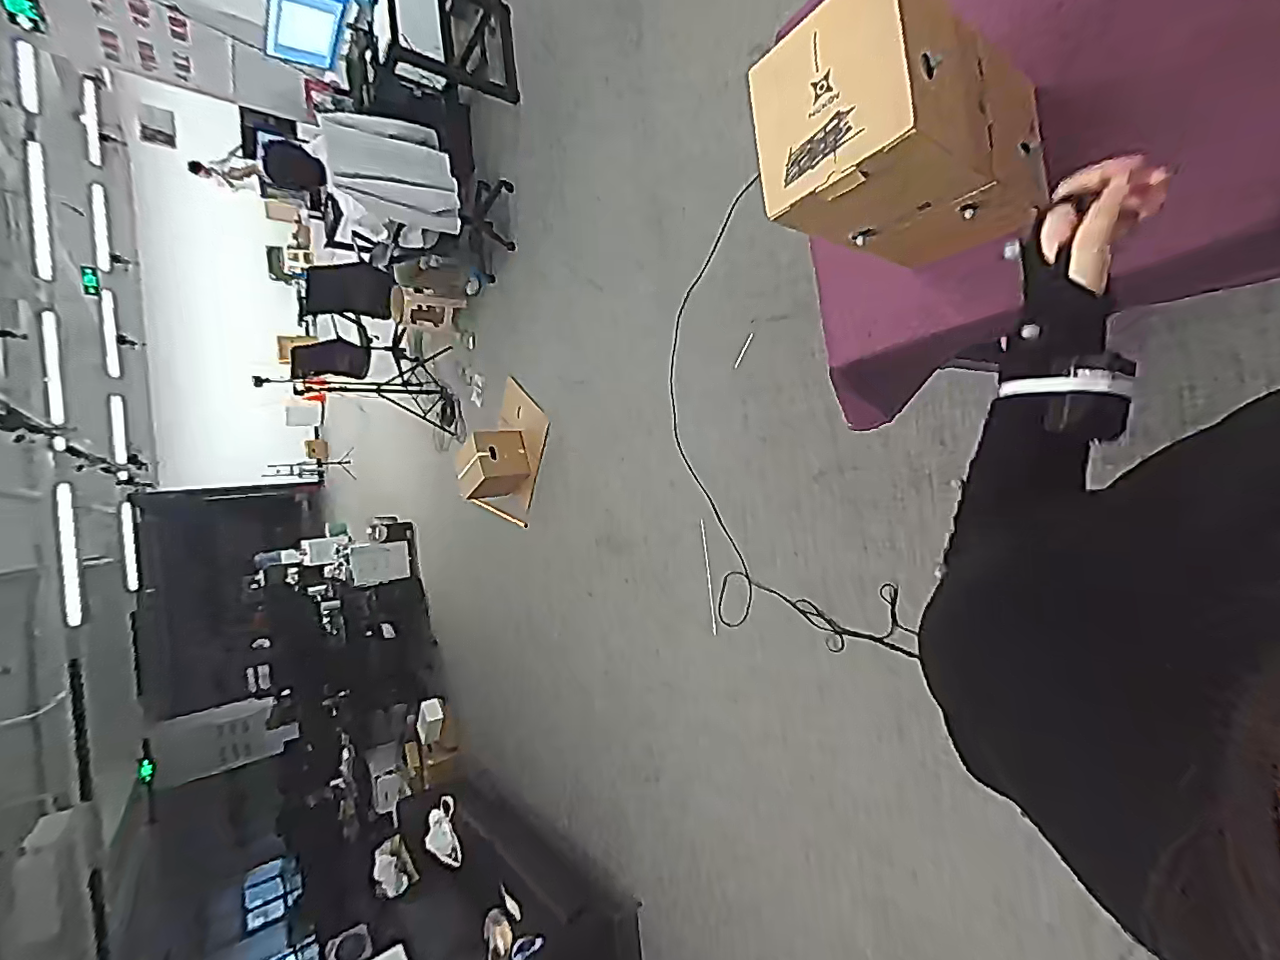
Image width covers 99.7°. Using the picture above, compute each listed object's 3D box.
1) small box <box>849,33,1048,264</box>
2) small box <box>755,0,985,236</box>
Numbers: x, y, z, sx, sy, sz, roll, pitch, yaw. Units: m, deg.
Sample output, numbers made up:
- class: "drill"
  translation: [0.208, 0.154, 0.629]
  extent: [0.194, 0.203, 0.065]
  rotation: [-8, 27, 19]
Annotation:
- class: "small box"
  translation: [0.385, -0.398, 0.694]
  extent: [0.179, 0.176, 0.168]
  rotation: [-9, 86, 52]
- class: "small box"
  translation: [0.252, -0.392, 0.595]
  extent: [0.168, 0.176, 0.179]
  rotation: [-10, 84, 52]
